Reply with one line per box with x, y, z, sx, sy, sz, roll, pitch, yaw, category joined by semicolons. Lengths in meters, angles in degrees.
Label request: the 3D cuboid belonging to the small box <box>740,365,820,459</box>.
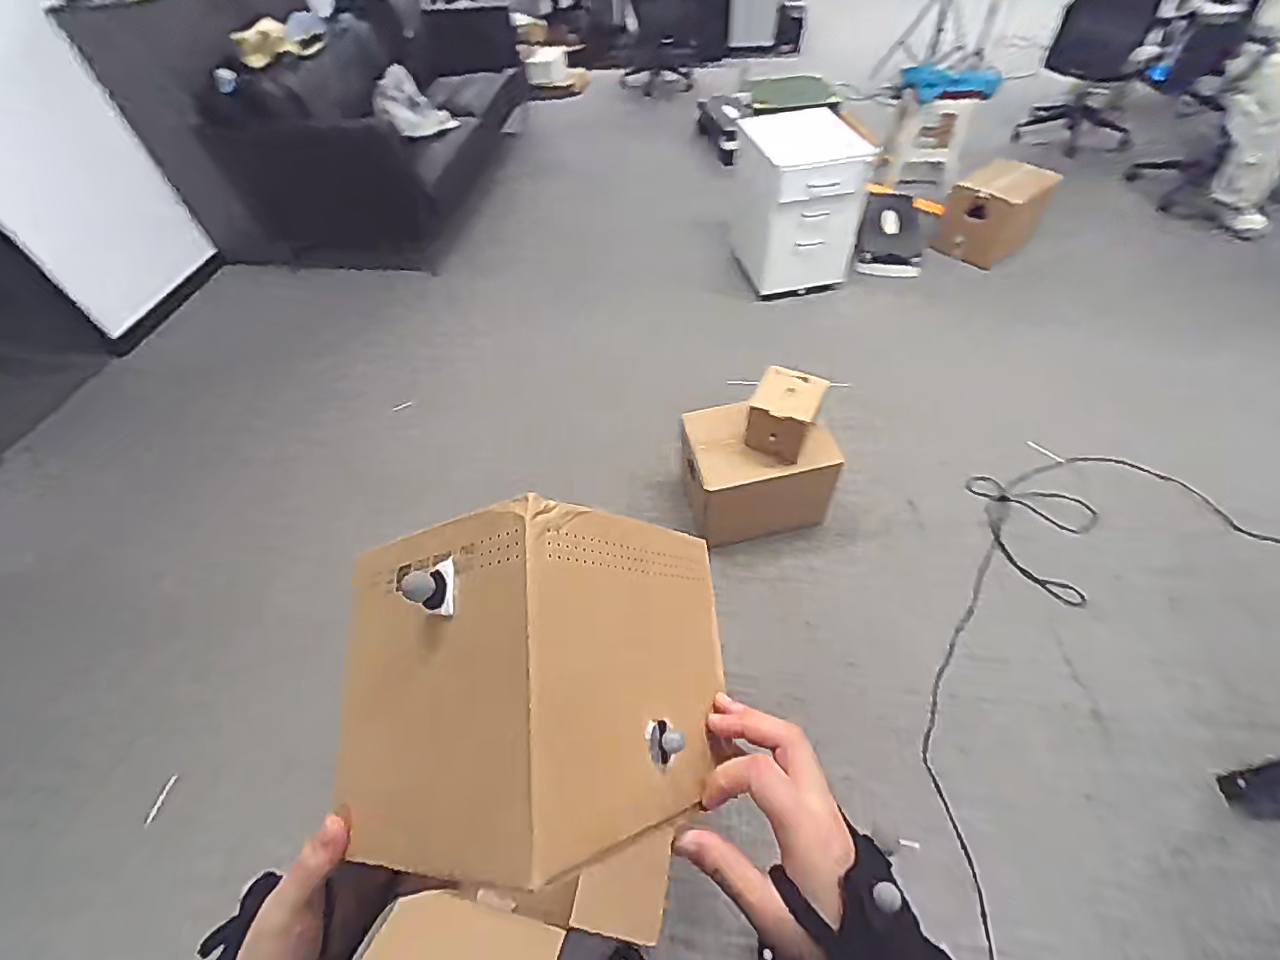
0.388;-0.188;1.519;0.168;0.176;0.179;21;58;19;small box

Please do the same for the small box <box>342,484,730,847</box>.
-0.060;0.112;0.355;0.168;0.179;0.176;-19;65;32;small box
